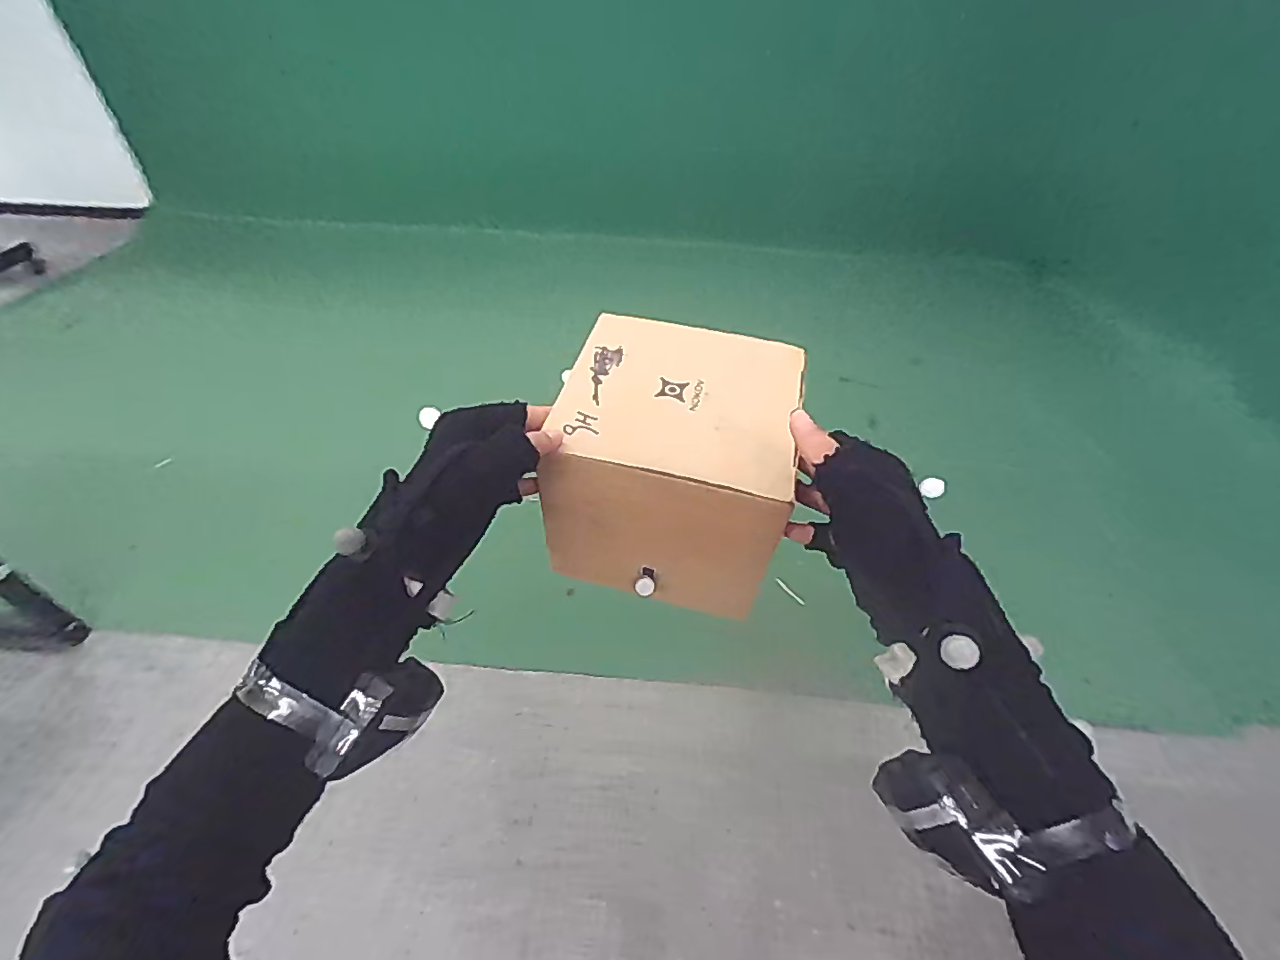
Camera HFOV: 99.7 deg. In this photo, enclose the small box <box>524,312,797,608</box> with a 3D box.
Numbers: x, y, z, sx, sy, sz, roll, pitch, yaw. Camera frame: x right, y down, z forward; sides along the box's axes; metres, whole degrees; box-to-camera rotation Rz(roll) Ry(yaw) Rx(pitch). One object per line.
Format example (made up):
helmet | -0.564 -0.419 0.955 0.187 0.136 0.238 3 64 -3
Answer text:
small box | 0.020 -0.012 0.460 0.179 0.176 0.168 13 49 6
